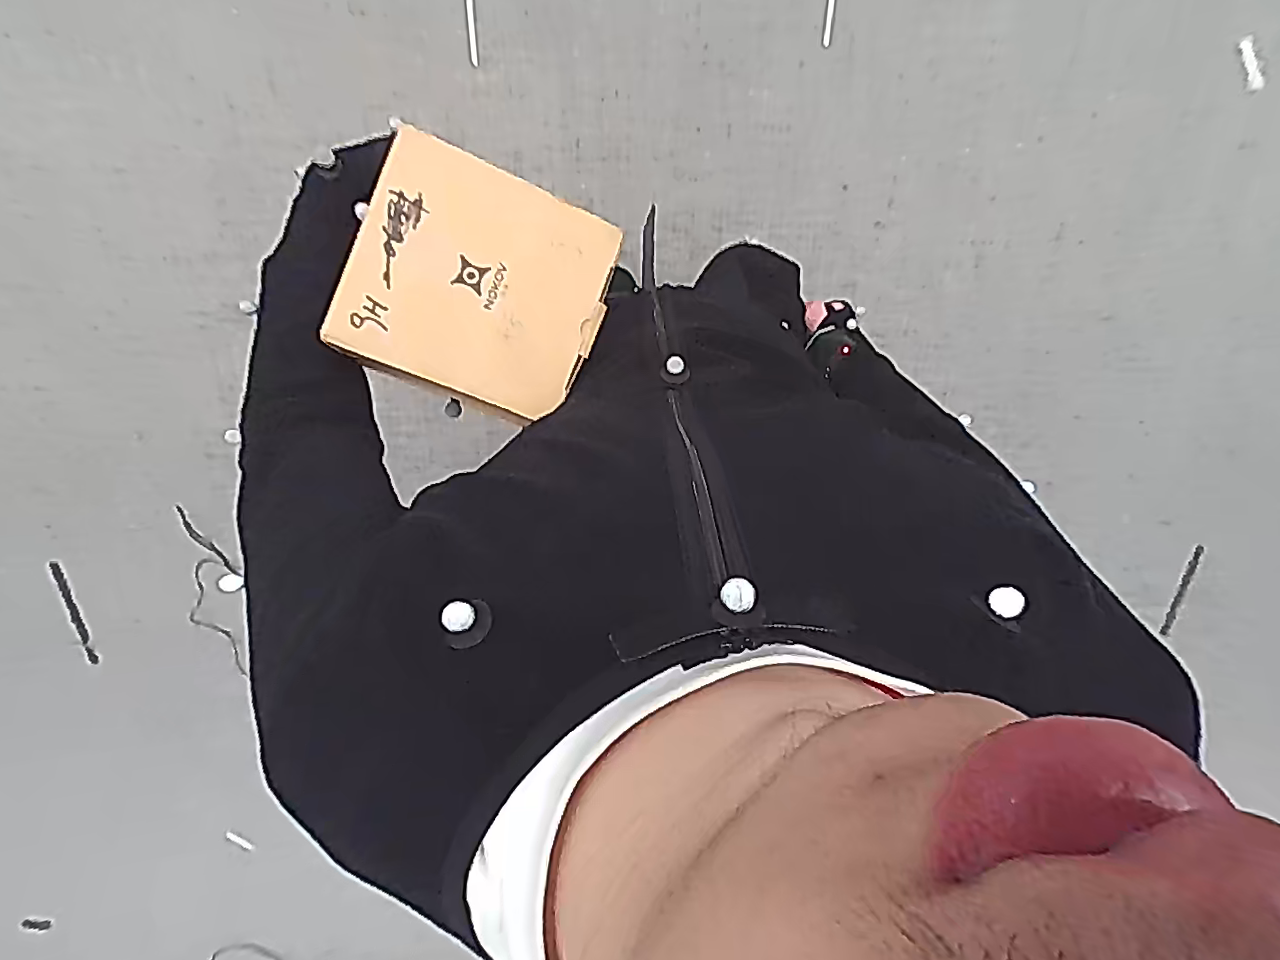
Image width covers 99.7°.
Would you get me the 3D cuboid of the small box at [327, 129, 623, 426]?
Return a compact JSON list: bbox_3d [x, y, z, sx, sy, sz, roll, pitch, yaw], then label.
[{"bbox_3d":[-0.139,-0.154,0.483,0.179,0.176,0.168,20,88,-16],"label":"small box"}]
